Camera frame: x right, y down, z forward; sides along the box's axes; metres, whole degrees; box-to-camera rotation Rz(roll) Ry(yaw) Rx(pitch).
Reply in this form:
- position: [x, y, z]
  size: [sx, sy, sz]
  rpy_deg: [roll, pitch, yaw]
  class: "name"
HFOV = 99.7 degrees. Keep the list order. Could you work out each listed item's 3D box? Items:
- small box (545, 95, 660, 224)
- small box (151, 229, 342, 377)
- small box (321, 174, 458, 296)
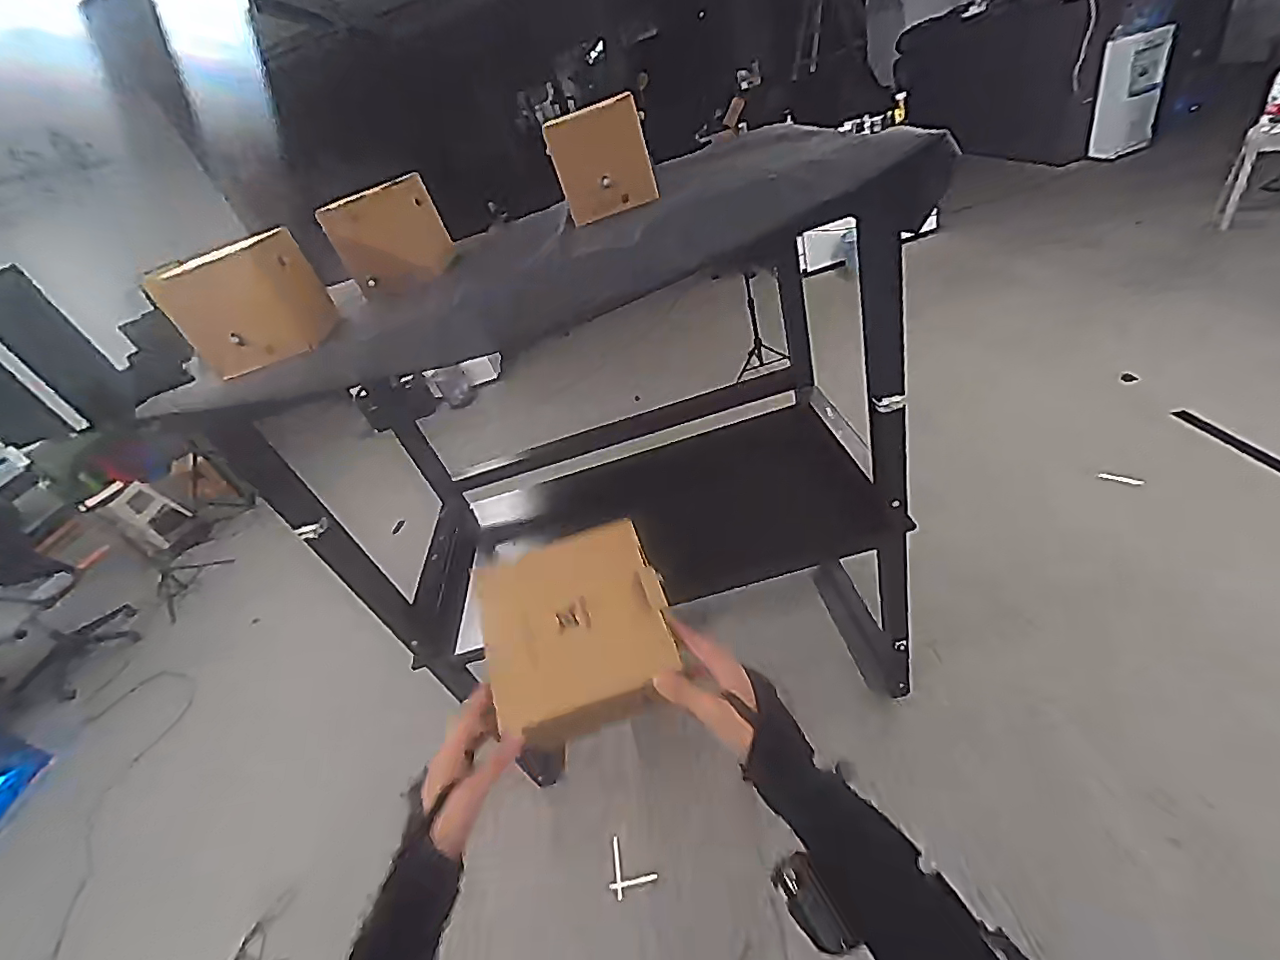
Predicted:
- position: [-0.066, -0.608, 1.032]
  size: [0.168, 0.176, 0.179]
  rpy_deg: [-16, 36, 8]
  class: "small box"
- position: [-0.639, -0.298, 0.911]
  size: [0.168, 0.176, 0.179]
  rpy_deg: [-19, 36, 2]
  class: "small box"
- position: [-0.489, -0.489, 1.090]
  size: [0.168, 0.176, 0.179]
  rpy_deg: [-17, 35, 6]
  class: "small box"
